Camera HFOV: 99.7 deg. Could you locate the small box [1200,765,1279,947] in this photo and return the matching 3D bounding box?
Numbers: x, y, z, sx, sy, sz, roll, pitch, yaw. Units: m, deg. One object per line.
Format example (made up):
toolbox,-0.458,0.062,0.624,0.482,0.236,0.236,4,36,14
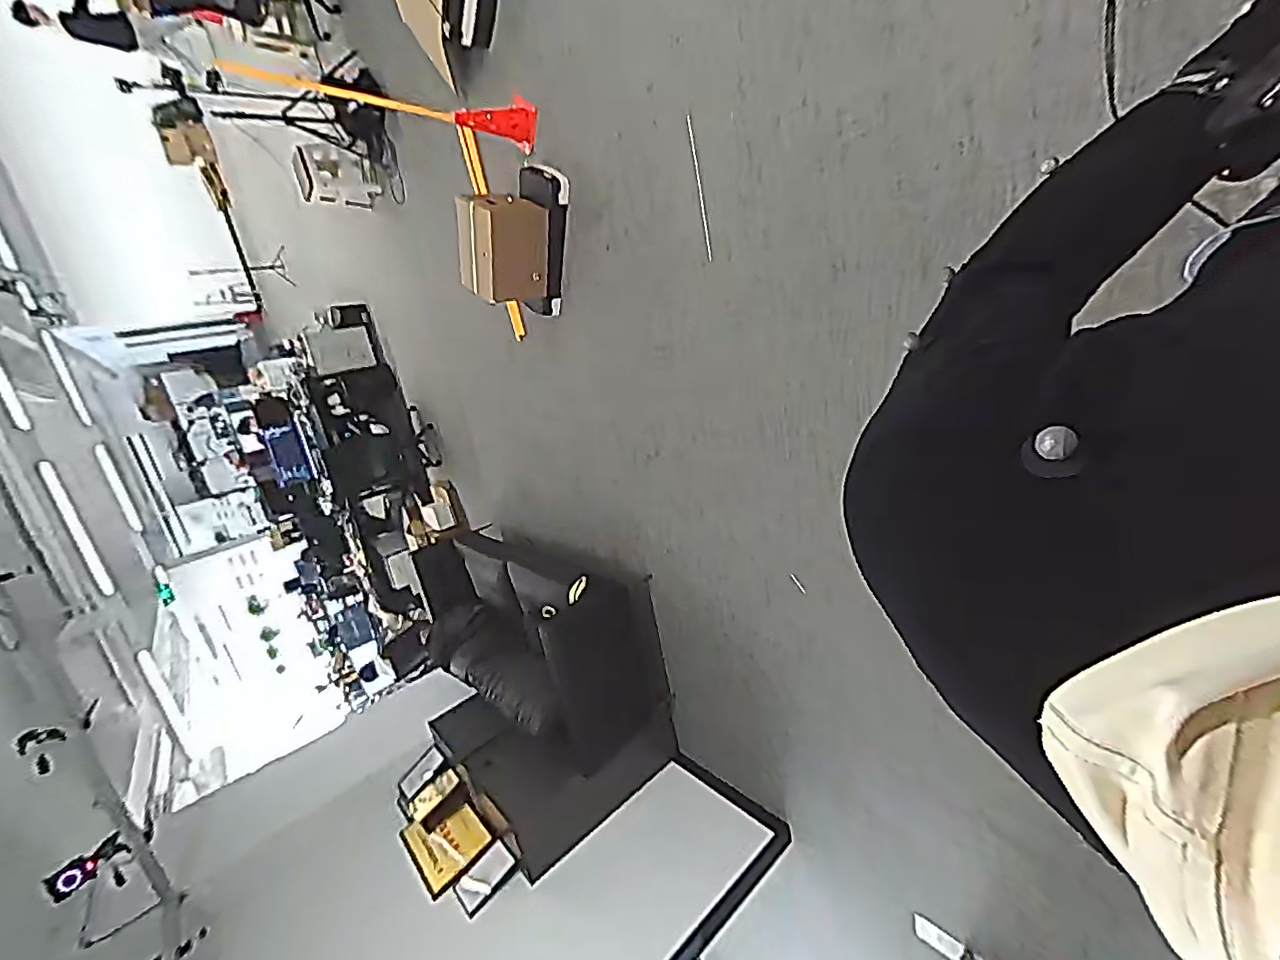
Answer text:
small box,0.954,0.556,0.777,0.179,0.176,0.168,13,117,49
